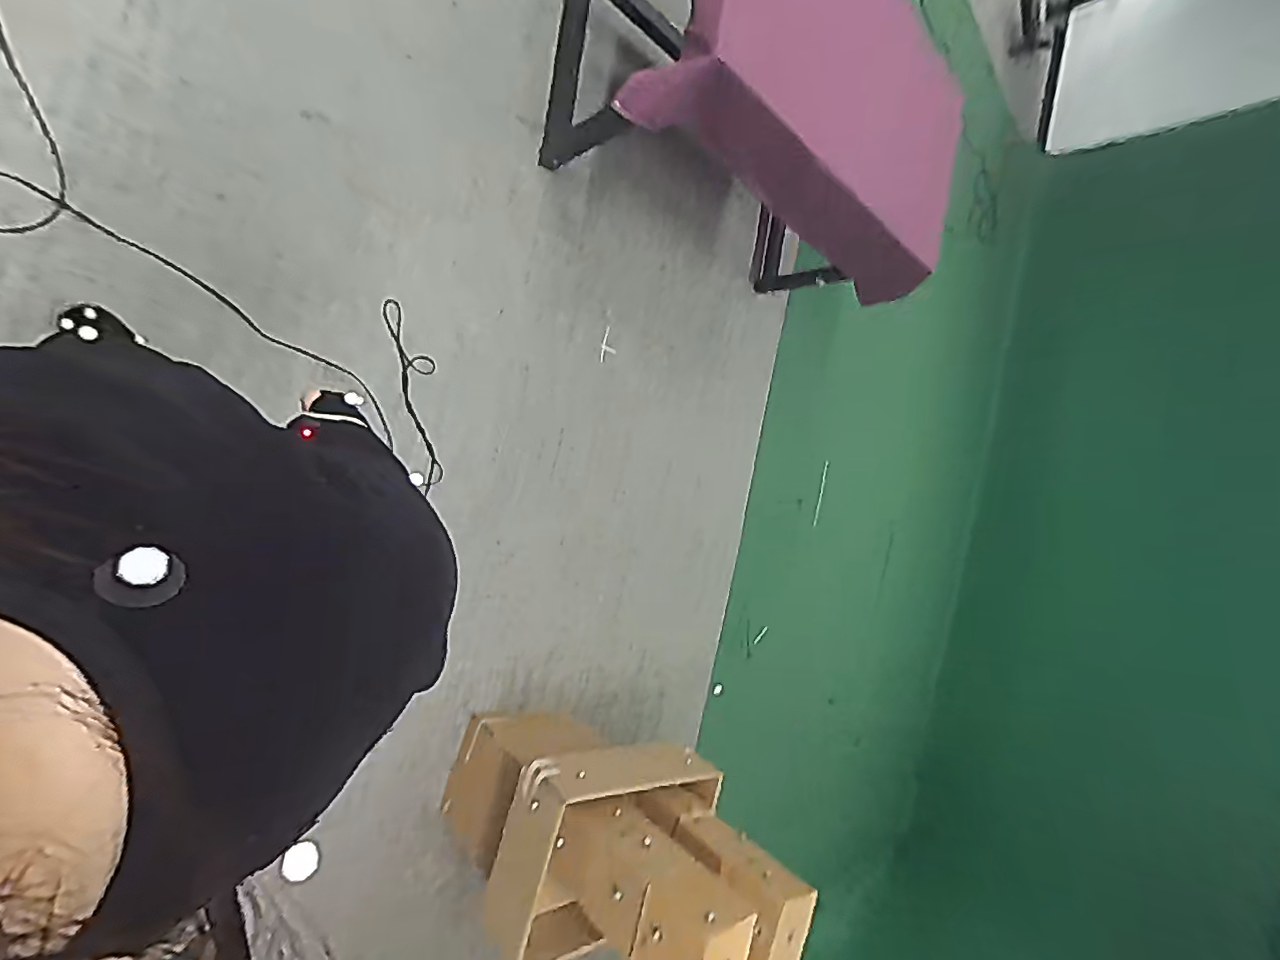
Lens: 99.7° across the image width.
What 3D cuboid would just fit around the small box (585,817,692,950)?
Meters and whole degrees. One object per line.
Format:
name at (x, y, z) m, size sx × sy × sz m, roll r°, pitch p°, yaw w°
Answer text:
small box at (-0.007, 0.924, 1.265) m, size 0.168 × 0.176 × 0.179 m, roll 16°, pitch 85°, yaw -44°

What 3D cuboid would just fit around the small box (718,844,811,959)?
small box at (0.289, 1.033, 1.332) m, size 0.168 × 0.176 × 0.179 m, roll 26°, pitch 80°, yaw -41°

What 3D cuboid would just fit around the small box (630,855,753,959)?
small box at (0.109, 0.944, 1.151) m, size 0.179 × 0.176 × 0.168 m, roll 17°, pitch 86°, yaw -44°
